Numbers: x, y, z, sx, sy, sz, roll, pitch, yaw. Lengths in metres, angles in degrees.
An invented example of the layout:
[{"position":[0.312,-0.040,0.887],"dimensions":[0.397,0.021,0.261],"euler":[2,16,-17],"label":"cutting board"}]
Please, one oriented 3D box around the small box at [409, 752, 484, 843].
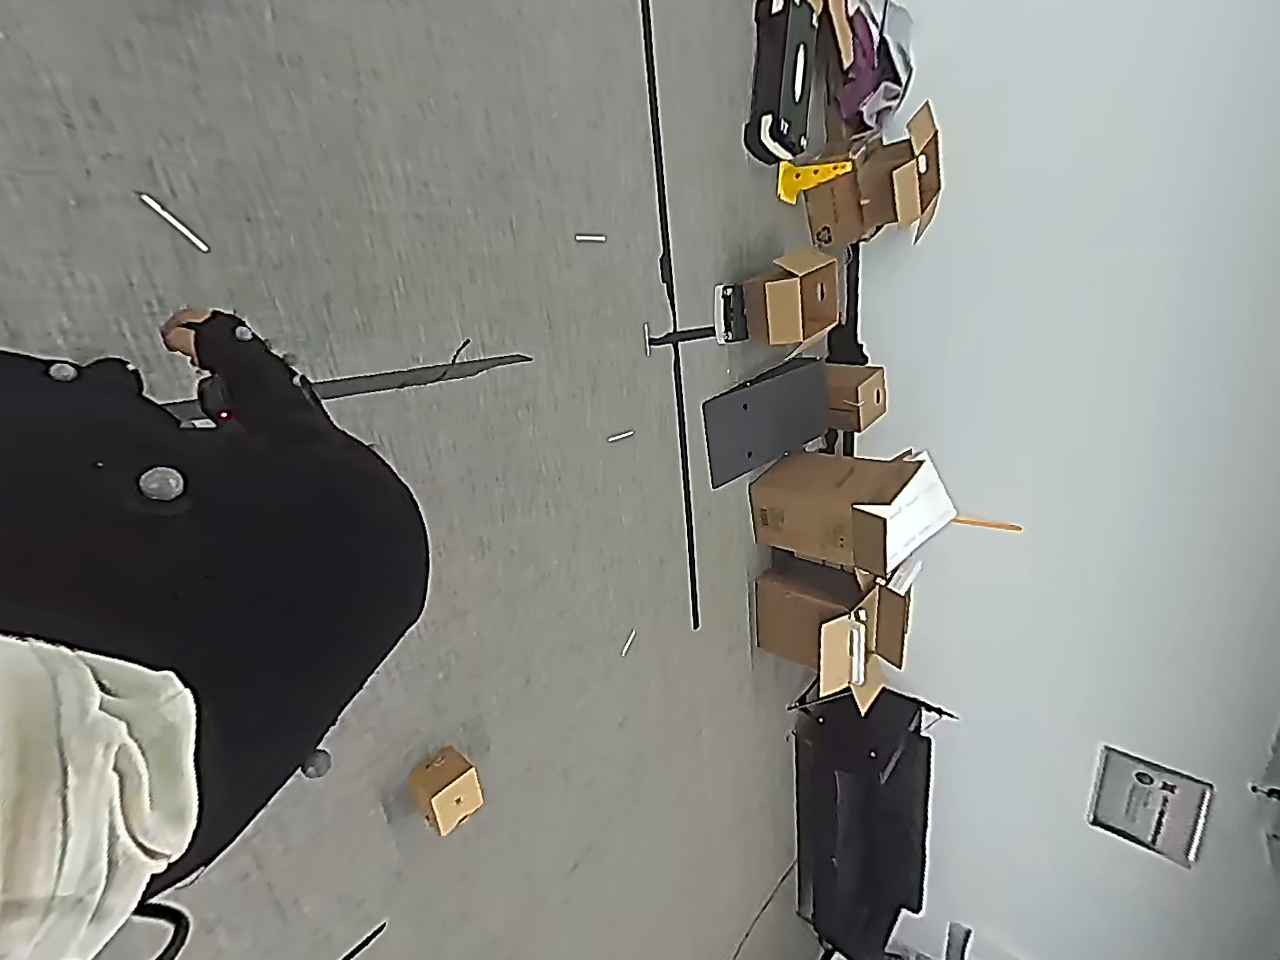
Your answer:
[{"position":[-0.669,1.087,1.868],"dimensions":[0.168,0.176,0.179],"euler":[-25,116,-44],"label":"small box"}]
